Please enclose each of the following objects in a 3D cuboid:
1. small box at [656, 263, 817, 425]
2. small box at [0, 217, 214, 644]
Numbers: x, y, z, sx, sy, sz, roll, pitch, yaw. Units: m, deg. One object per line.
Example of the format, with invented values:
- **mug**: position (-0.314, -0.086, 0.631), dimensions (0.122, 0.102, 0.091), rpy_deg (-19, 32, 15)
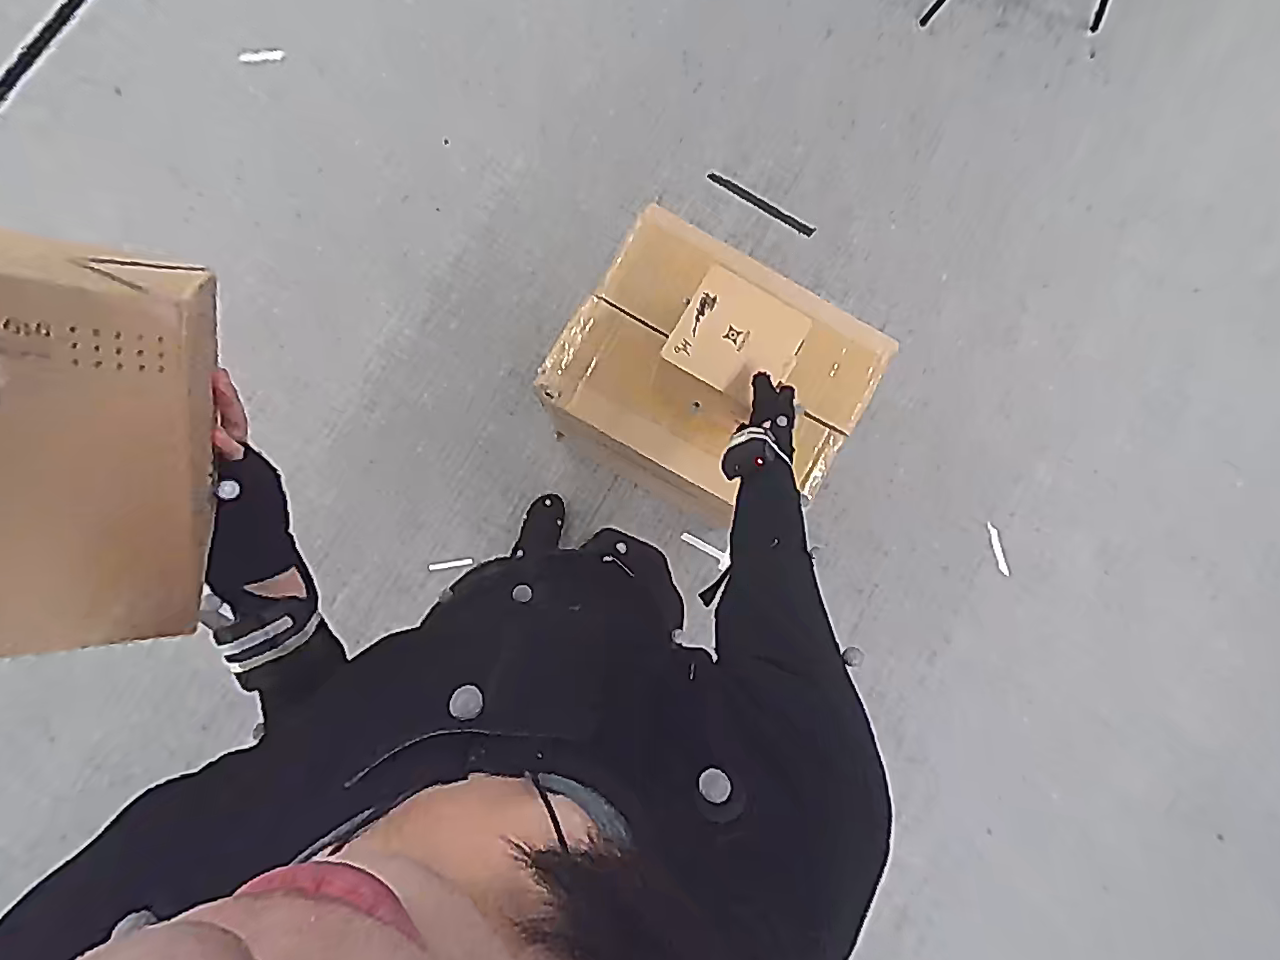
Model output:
- **small box**: position (0.142, -0.202, 0.864), dimensions (0.179, 0.176, 0.168), rpy_deg (31, 85, -1)
- **small box**: position (-0.318, -0.038, 0.262), dimensions (0.168, 0.179, 0.176), rpy_deg (1, 112, -33)
